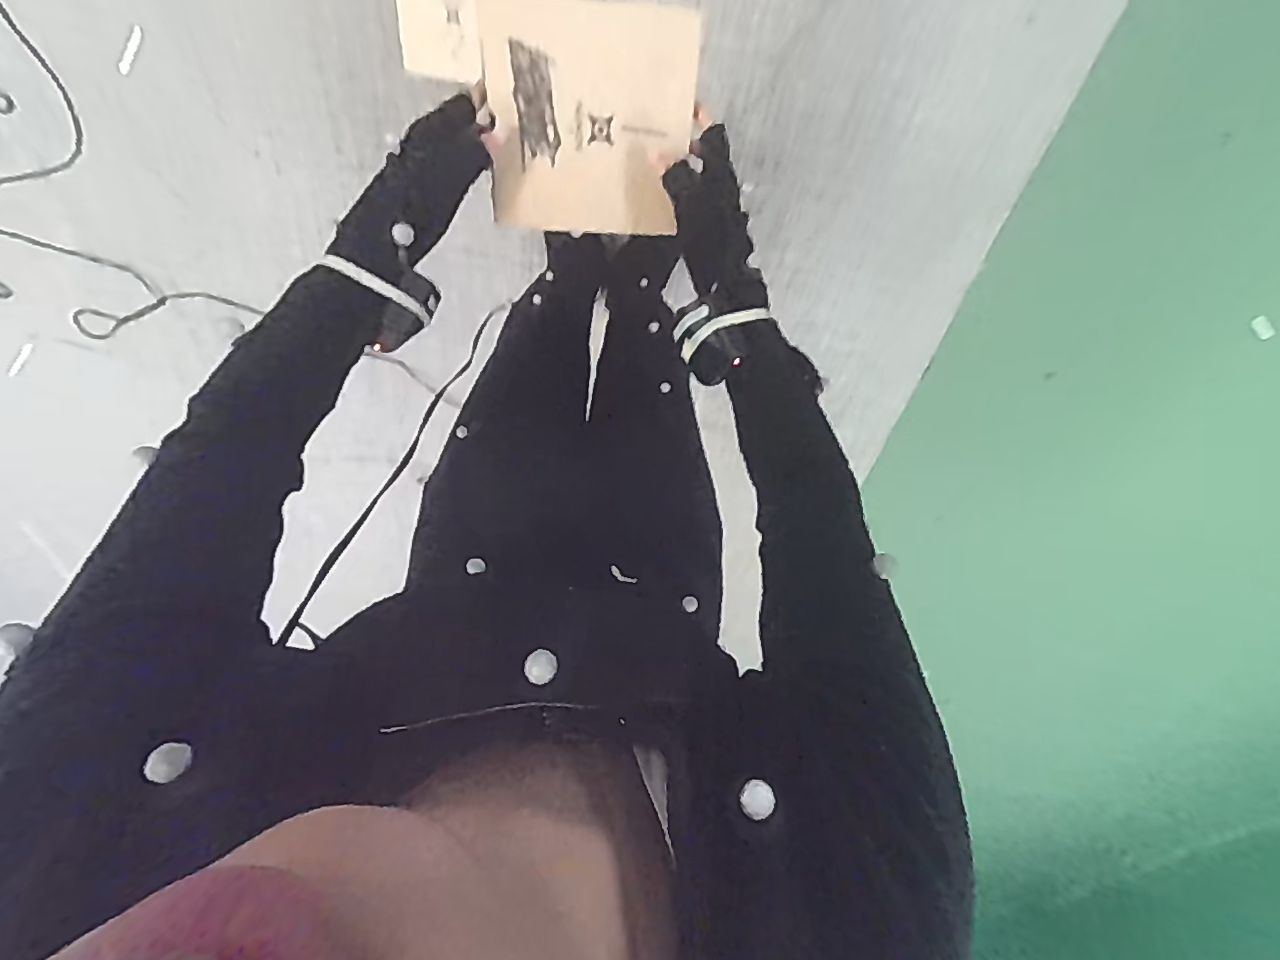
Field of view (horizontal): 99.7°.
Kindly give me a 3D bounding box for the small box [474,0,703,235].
[{"bbox_3d":[-0.050,-0.343,0.519,0.179,0.176,0.168,0,125,-7],"label":"small box"}]
